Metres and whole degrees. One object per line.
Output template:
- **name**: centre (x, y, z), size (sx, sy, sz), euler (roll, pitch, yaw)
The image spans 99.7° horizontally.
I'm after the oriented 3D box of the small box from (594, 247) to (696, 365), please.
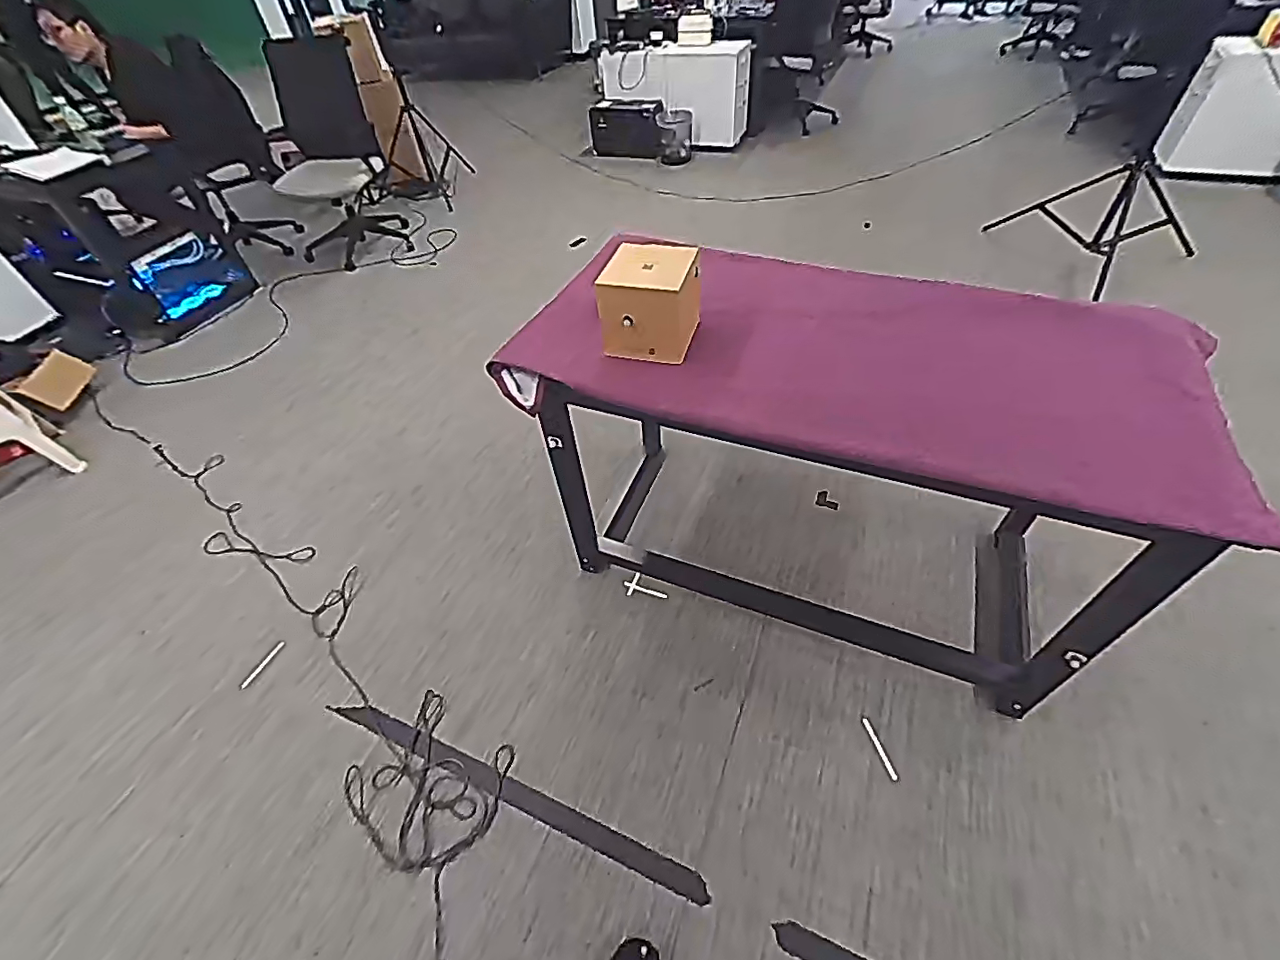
- **small box**: centre (0.019, -0.356, 1.111), size (0.168, 0.176, 0.179), euler (9, 49, 14)
